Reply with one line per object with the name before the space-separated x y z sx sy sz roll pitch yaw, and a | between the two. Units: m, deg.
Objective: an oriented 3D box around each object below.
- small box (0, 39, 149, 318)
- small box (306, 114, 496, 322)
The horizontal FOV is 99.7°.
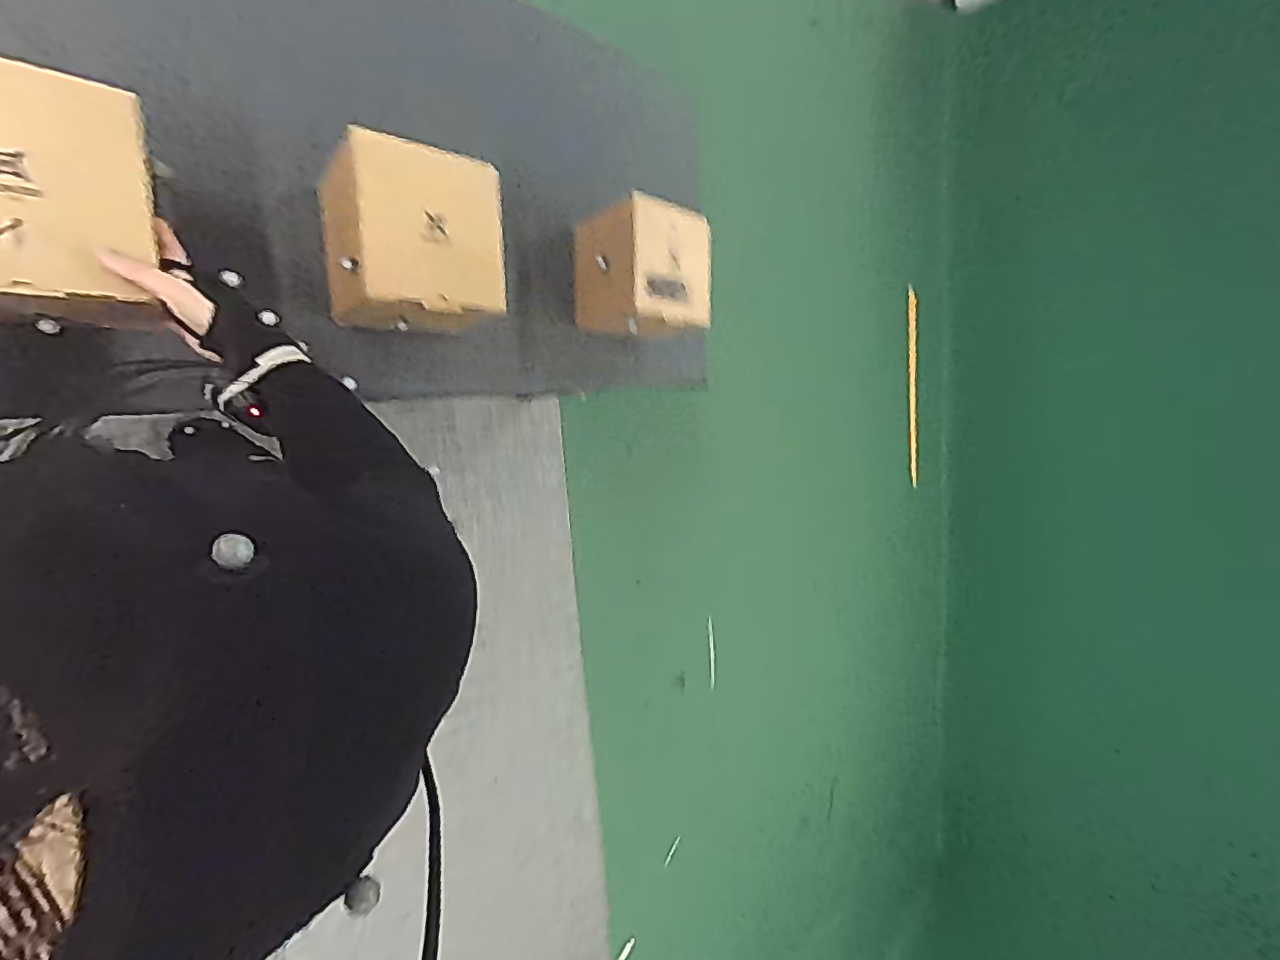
small box | -0.539 -0.245 0.457 0.168 0.176 0.179 -9 100 -42
small box | -0.301 -0.307 0.679 0.168 0.176 0.179 -10 100 -43
